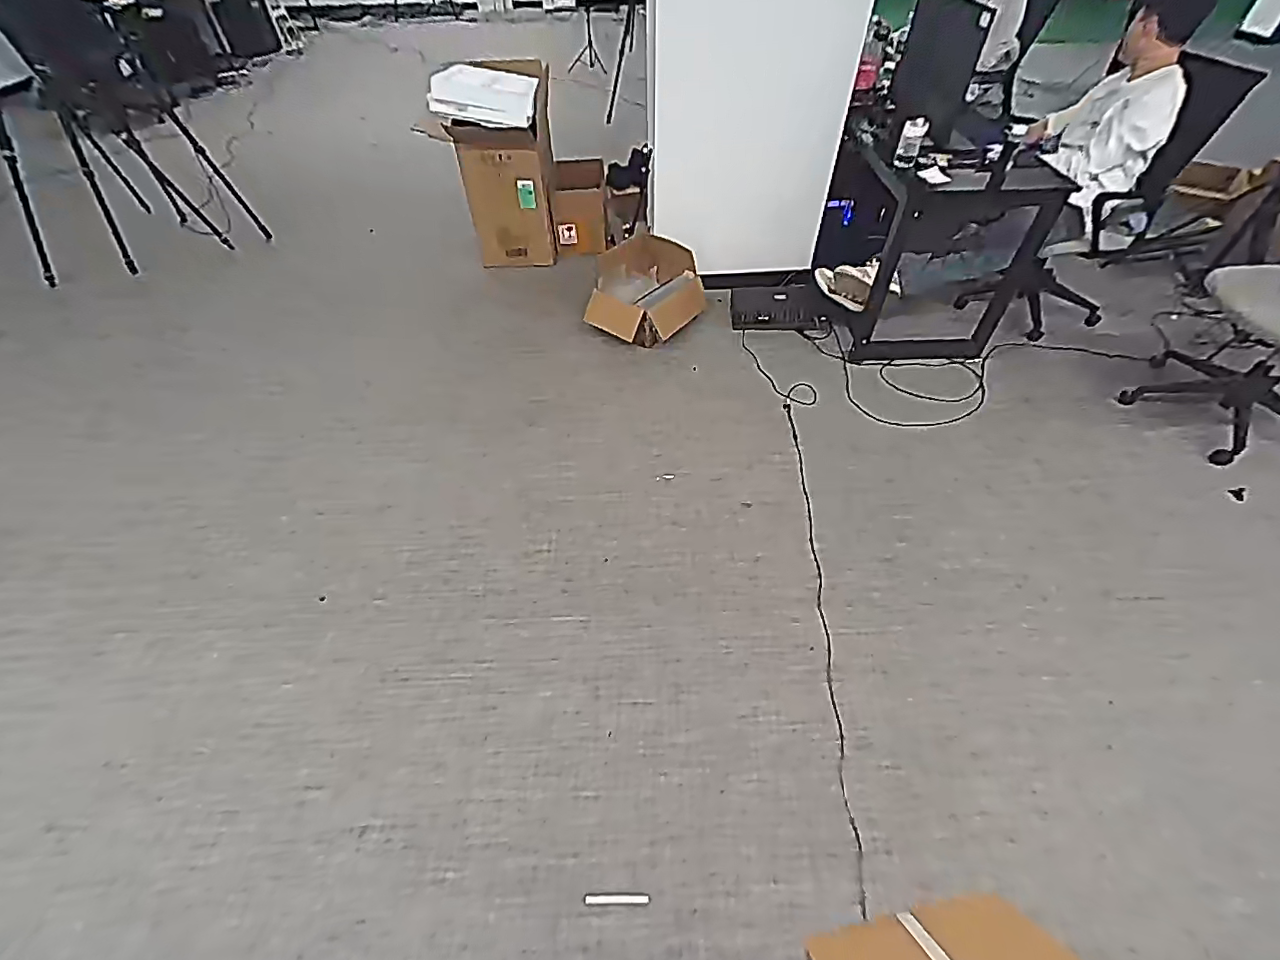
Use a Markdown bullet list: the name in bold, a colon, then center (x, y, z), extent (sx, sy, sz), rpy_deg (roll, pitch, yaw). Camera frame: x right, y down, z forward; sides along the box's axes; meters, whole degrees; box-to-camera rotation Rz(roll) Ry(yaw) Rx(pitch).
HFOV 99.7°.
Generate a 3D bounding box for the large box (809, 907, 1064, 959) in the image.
- **large box**: center (0.430, 0.777, 0.590), extent (0.320, 0.408, 0.320), rpy_deg (-10, 80, -4)
